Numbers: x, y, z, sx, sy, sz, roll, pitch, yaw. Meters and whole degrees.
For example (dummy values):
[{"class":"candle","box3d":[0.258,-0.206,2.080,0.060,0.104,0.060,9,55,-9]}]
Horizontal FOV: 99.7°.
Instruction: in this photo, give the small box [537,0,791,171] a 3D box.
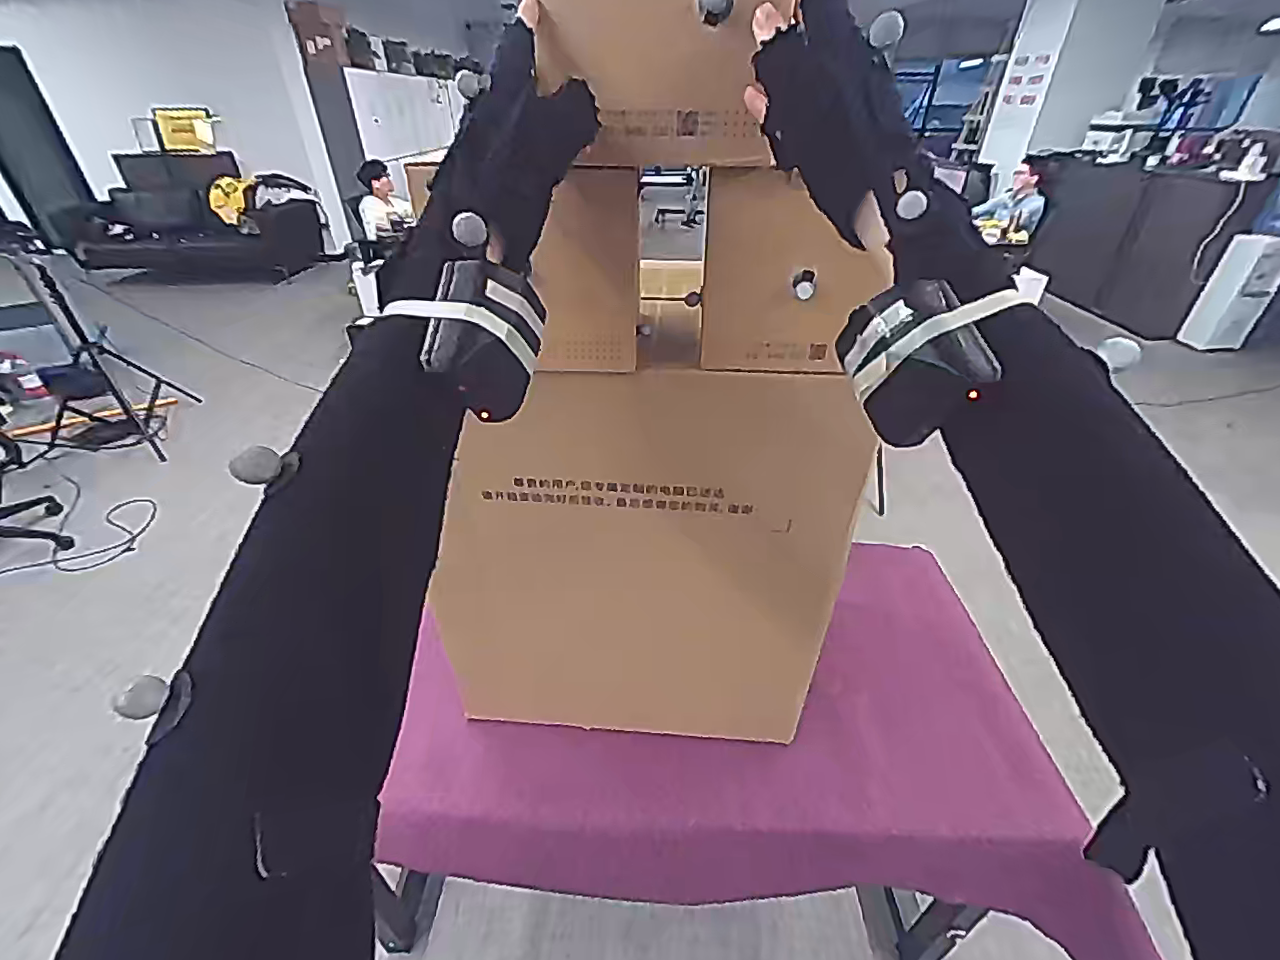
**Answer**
[{"class":"small box","box3d":[0.022,-0.339,0.413,0.168,0.176,0.179,4,34,4]}]

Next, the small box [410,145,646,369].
[{"class":"small box","box3d":[-0.084,-0.212,0.515,0.179,0.176,0.168,0,35,2]}]

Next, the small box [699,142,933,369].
[{"class":"small box","box3d":[0.145,-0.215,0.516,0.168,0.176,0.179,3,36,4]}]
